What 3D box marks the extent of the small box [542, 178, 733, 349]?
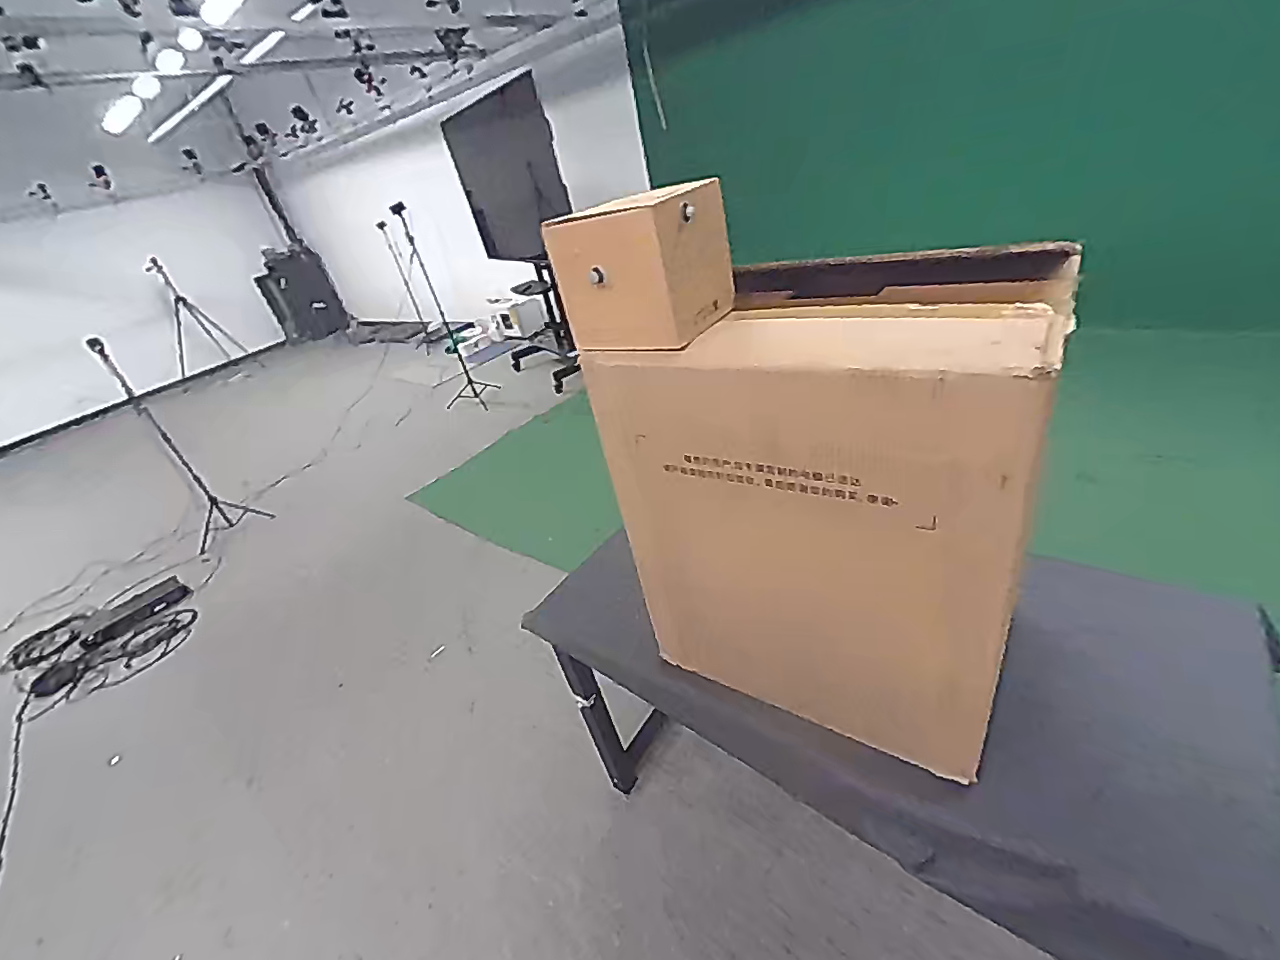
[{"bbox_3d":[0.005,-0.283,0.728,0.179,0.176,0.168,9,39,35],"label":"small box"}]
